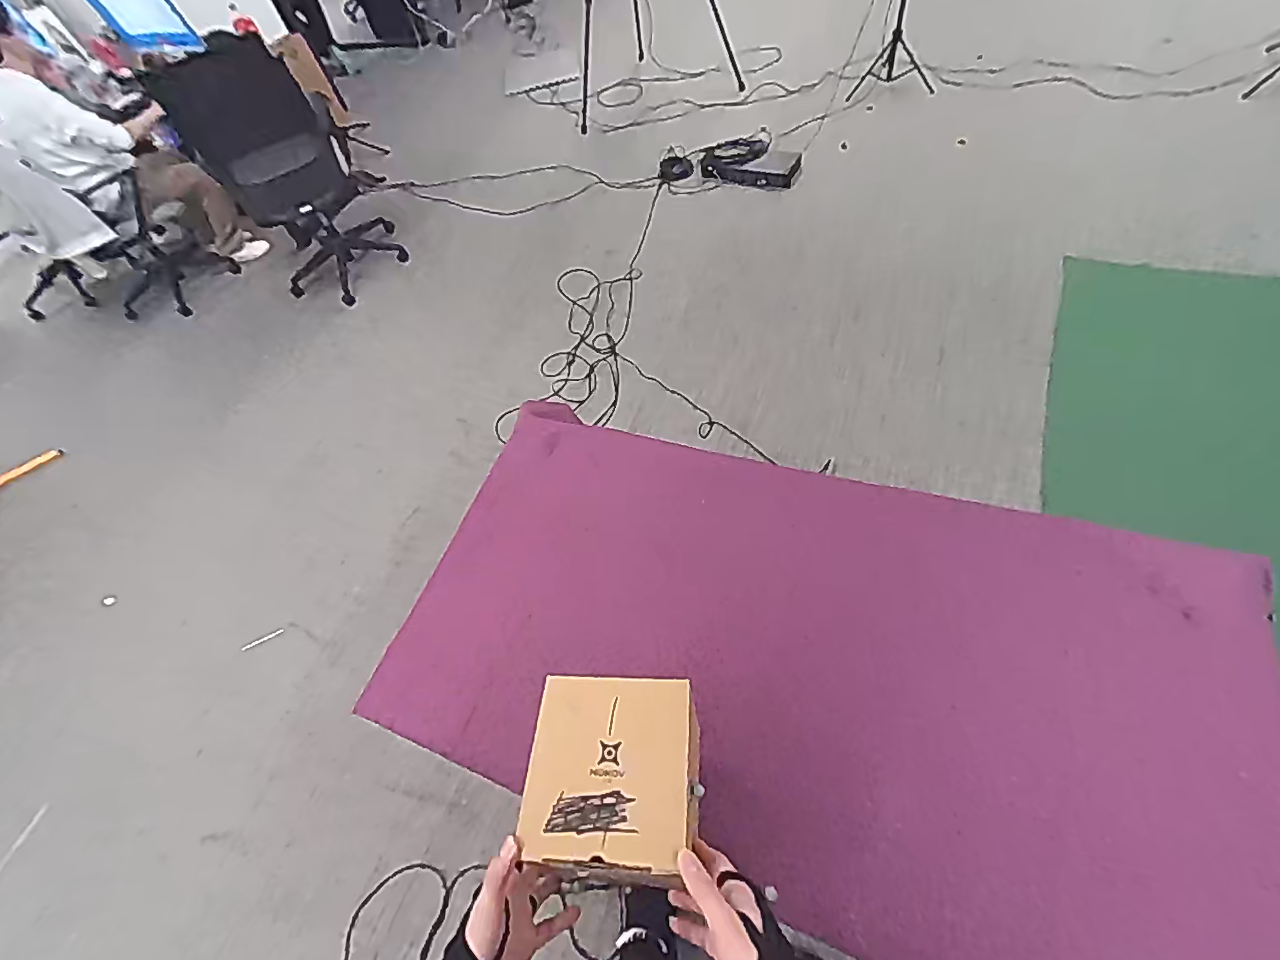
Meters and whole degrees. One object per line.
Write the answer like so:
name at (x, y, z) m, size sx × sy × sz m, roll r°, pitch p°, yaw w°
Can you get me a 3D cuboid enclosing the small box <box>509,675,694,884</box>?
small box at (-0.027, 0.339, 0.610) m, size 0.168 × 0.176 × 0.179 m, roll 0°, pitch 50°, yaw 9°
